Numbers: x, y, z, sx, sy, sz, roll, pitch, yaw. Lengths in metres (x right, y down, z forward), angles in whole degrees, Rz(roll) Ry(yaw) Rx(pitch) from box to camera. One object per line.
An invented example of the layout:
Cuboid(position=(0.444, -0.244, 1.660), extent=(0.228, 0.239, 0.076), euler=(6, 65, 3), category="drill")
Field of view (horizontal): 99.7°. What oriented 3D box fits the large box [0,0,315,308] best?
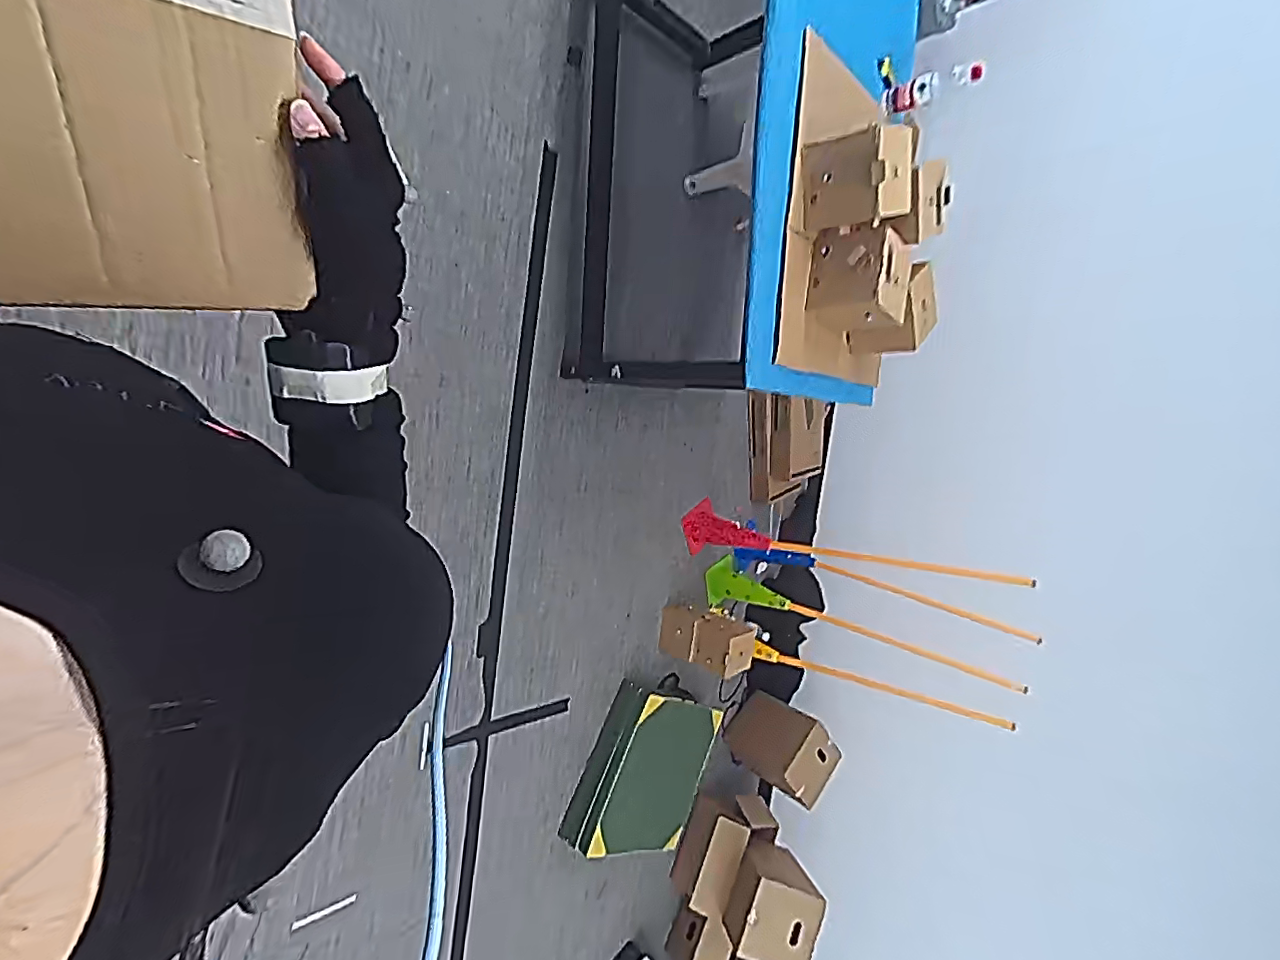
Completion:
Cuboid(position=(-0.441, -0.278, 0.265), extent=(0.408, 0.320, 0.320), euler=(-14, 126, -41), category="large box")
